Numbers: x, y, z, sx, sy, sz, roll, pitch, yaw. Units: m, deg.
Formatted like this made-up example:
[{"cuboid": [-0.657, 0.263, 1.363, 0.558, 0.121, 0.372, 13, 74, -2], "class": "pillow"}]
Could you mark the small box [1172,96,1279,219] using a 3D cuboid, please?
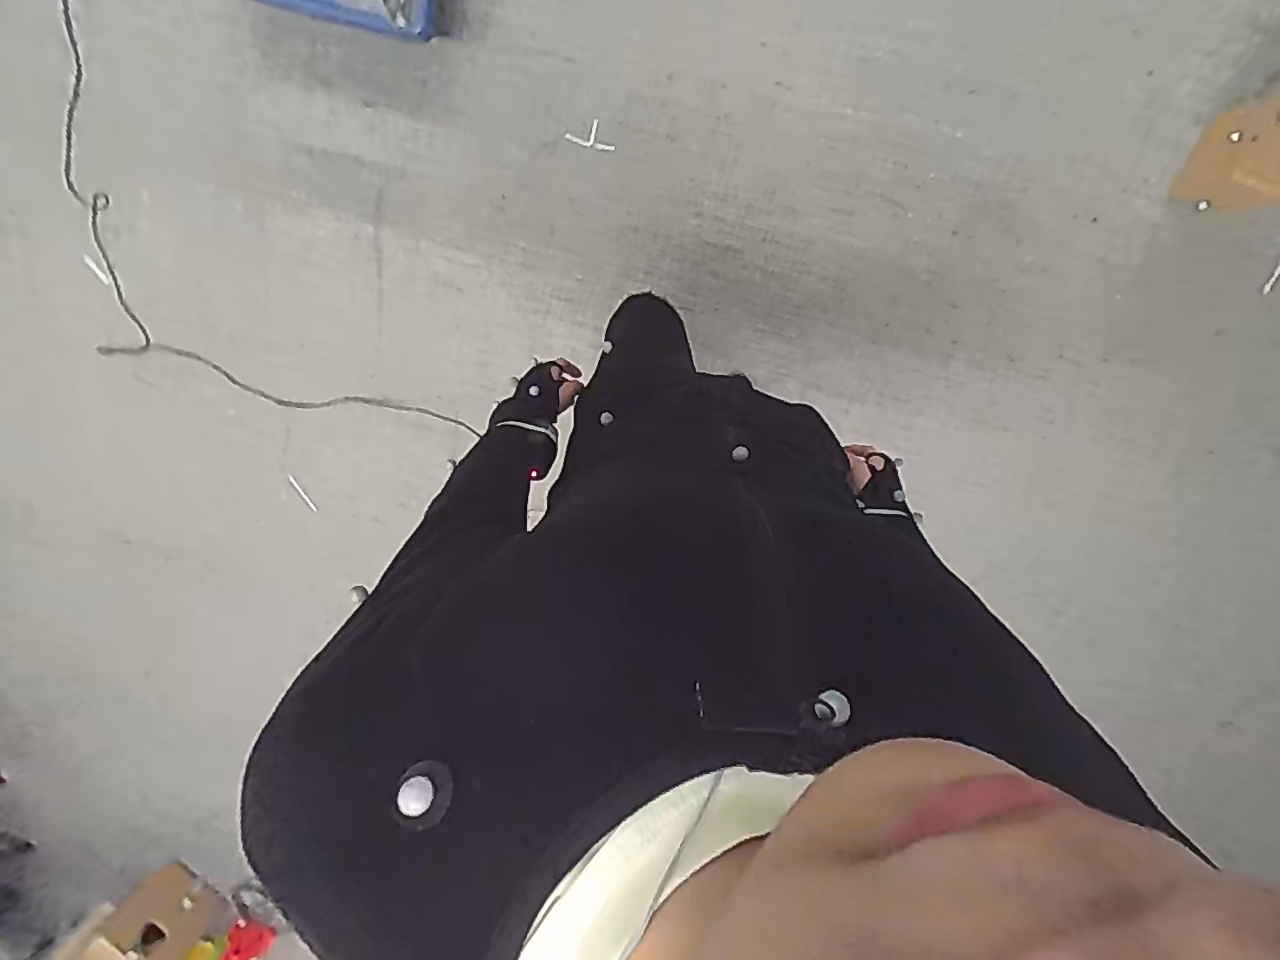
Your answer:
[{"cuboid": [1.374, -0.714, 1.211, 0.168, 0.176, 0.179, 21, 108, 0], "class": "small box"}]
